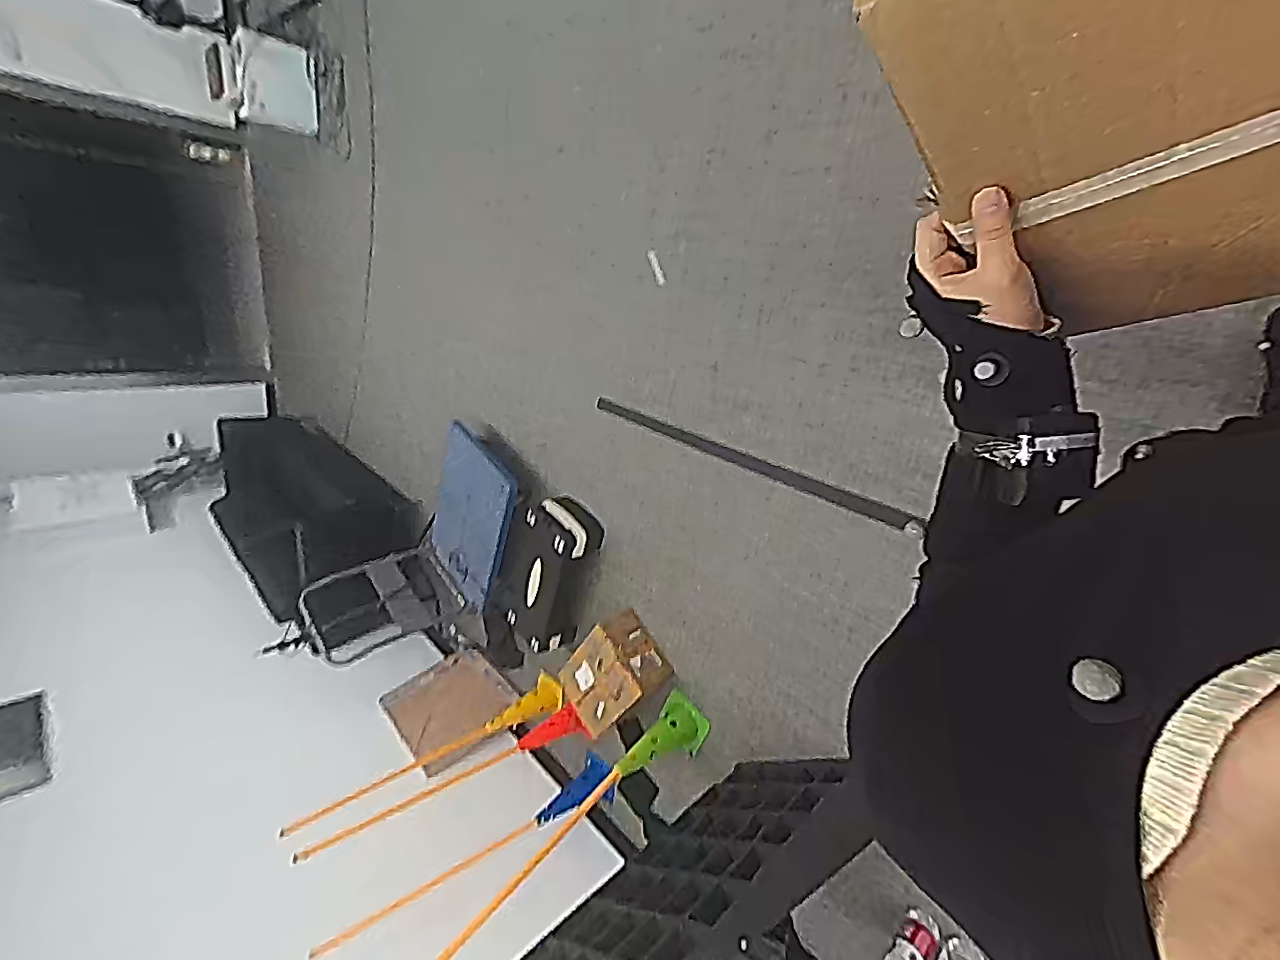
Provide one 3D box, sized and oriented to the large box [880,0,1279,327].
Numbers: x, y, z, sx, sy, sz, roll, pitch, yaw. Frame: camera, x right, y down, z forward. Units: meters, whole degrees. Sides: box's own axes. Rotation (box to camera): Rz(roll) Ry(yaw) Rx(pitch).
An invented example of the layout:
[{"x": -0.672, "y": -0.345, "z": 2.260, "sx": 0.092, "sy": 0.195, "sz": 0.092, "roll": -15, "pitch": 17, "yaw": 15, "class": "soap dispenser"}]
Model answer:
[{"x": 0.361, "y": -0.323, "z": 0.224, "sx": 0.408, "sy": 0.320, "sz": 0.320, "roll": -6, "pitch": 67, "yaw": 45, "class": "large box"}]
